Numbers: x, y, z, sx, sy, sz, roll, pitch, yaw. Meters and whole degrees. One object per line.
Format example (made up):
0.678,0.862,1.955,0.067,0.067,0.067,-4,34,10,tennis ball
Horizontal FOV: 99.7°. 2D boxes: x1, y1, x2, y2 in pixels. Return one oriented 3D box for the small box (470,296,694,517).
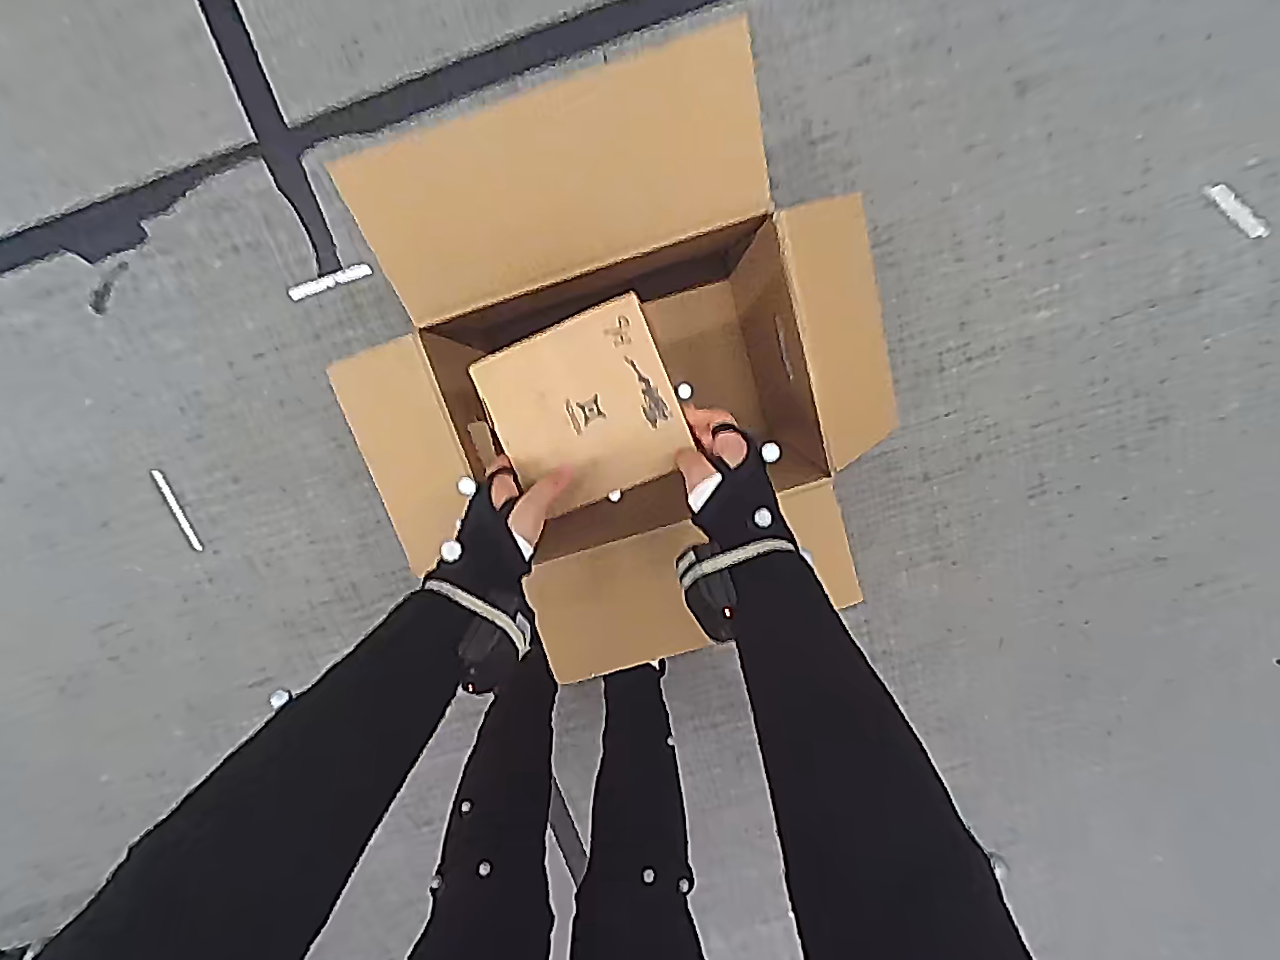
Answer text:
-0.049,-0.076,0.597,0.179,0.176,0.168,-22,95,9,small box
